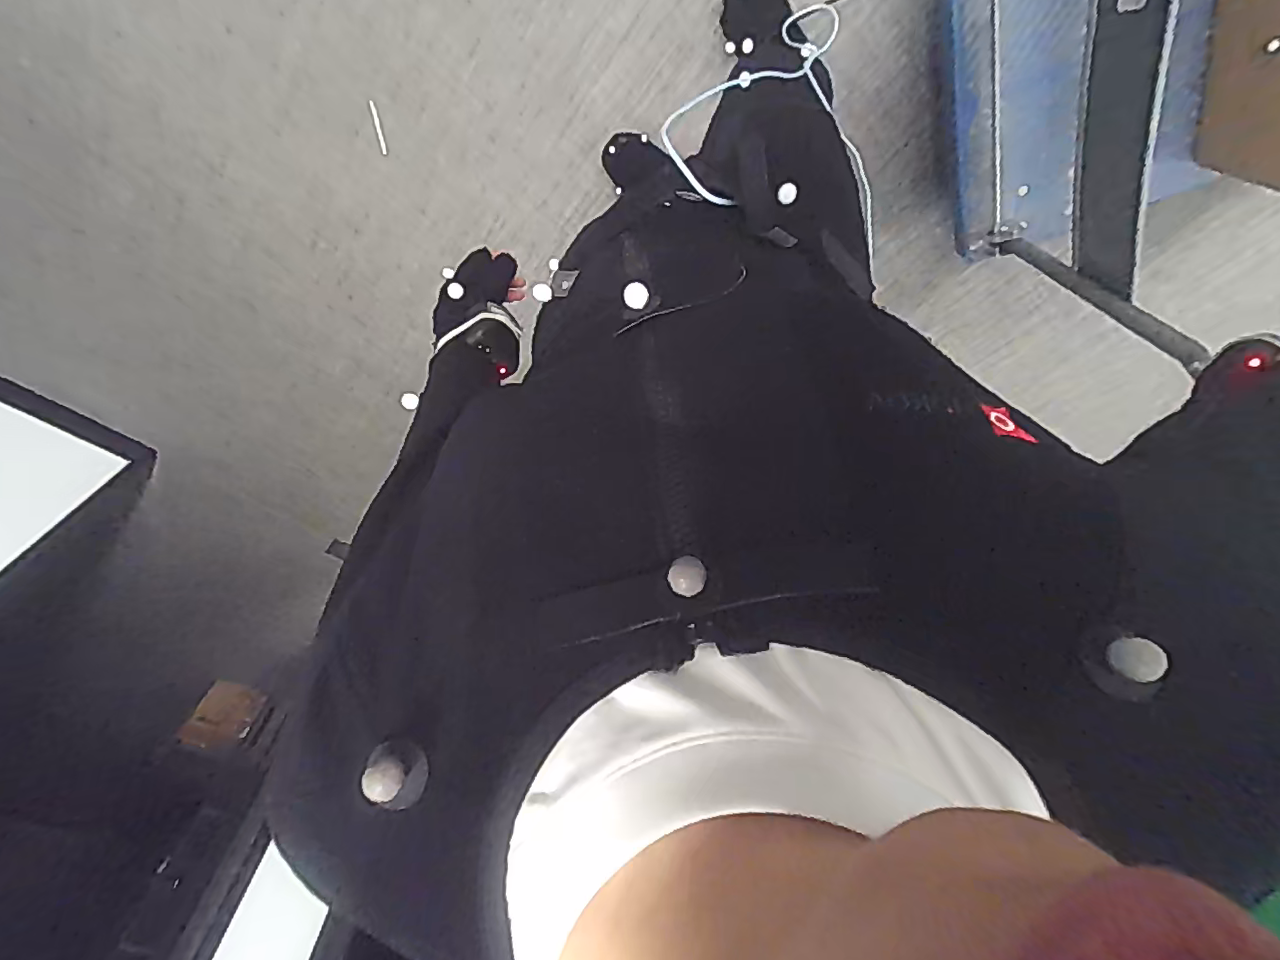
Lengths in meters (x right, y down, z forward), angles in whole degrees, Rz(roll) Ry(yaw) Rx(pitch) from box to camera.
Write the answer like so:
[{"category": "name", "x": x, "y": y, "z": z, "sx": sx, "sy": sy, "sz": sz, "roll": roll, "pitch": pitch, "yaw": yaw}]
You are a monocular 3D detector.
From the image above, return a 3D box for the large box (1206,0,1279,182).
[{"category": "large box", "x": 1.025, "y": -0.651, "z": 0.683, "sx": 0.320, "sy": 0.320, "sz": 0.408, "roll": -18, "pitch": 127, "yaw": 21}]
